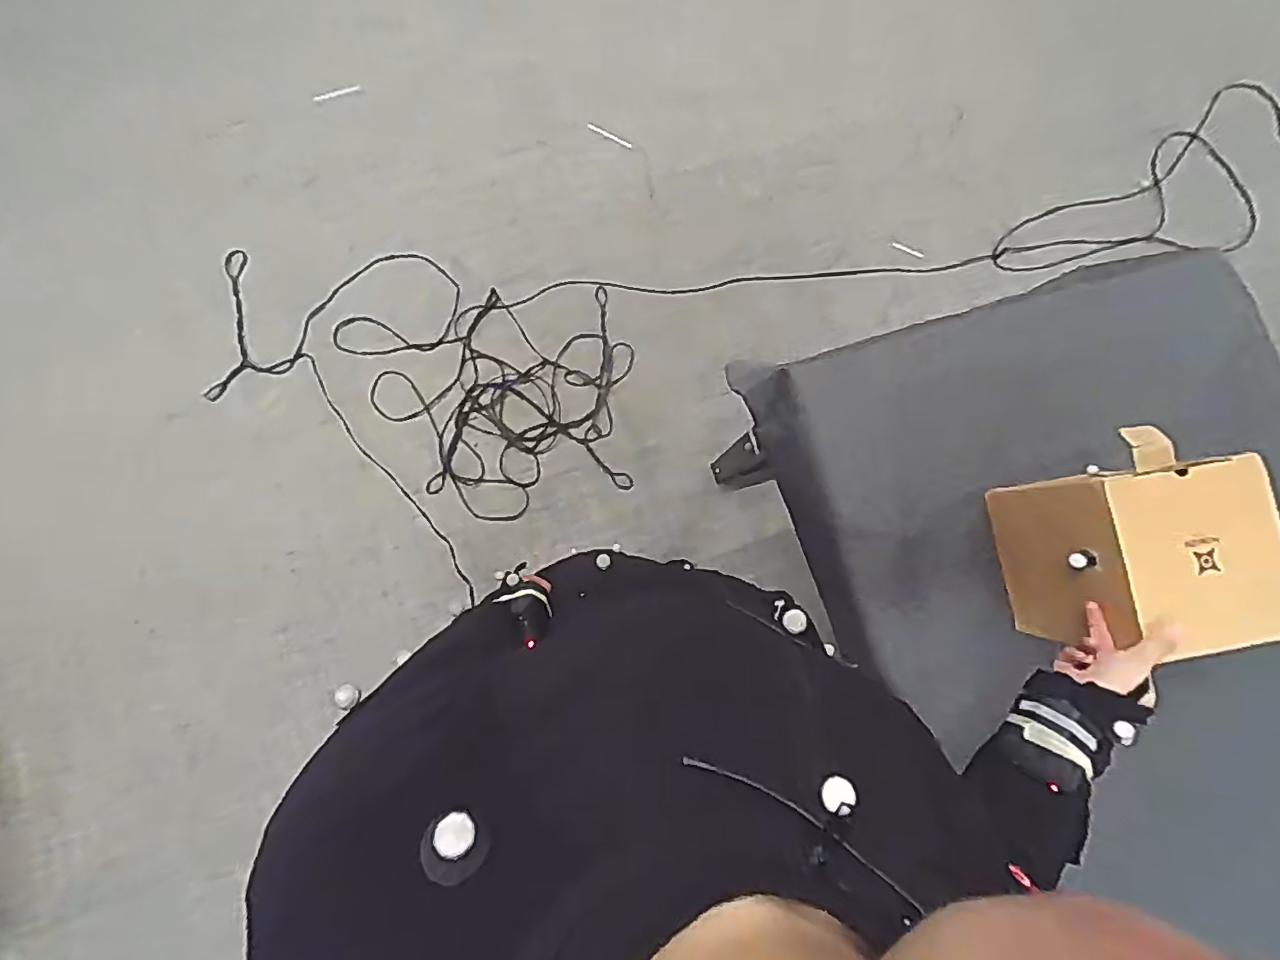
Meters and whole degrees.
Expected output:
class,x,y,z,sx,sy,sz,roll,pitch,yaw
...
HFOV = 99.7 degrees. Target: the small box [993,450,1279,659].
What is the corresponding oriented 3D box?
class,x,y,z,sx,sy,sz,roll,pitch,yaw
small box,0.530,0.076,0.586,0.168,0.176,0.179,-9,83,-4
